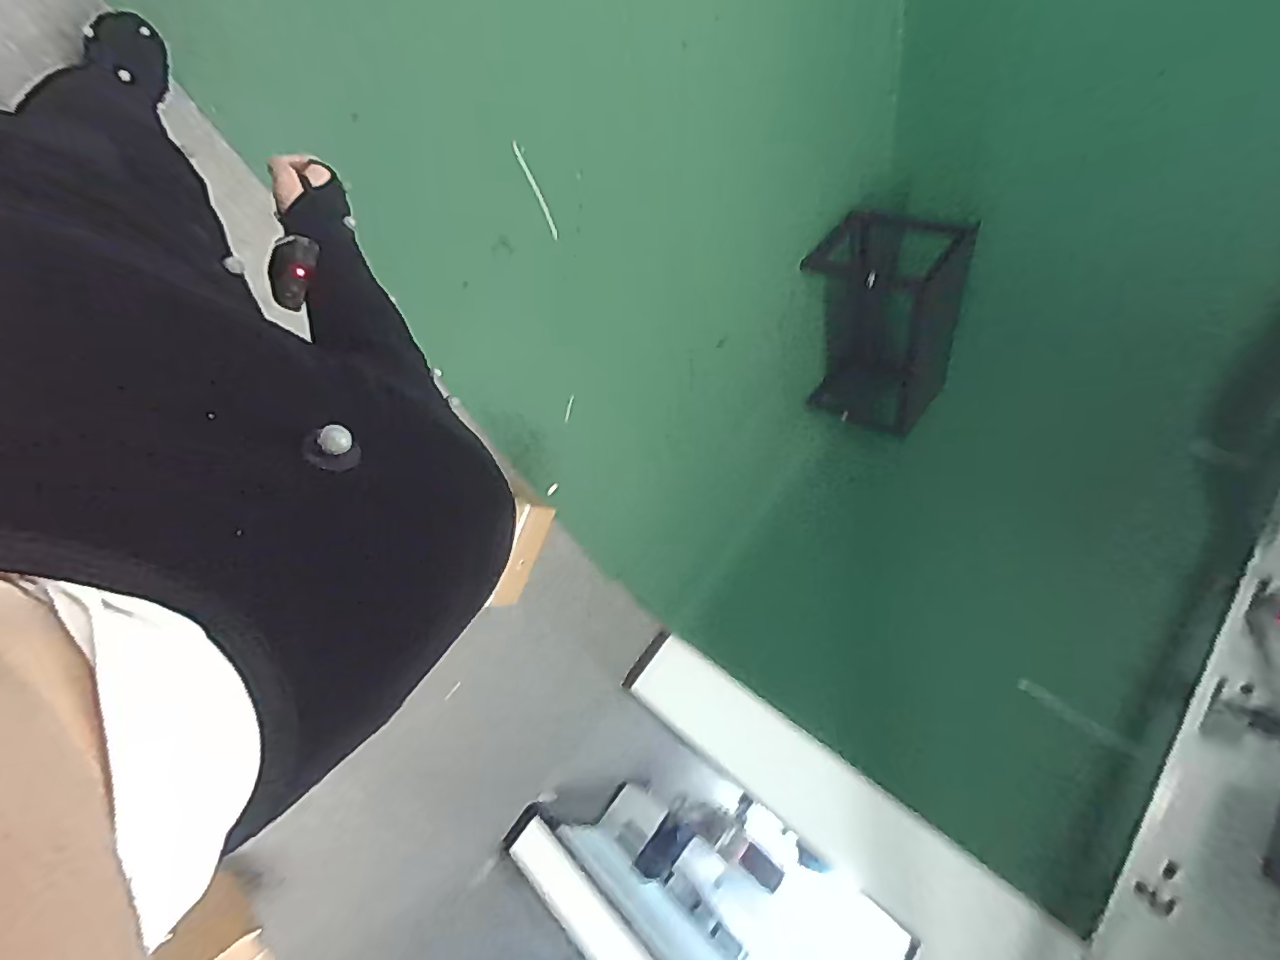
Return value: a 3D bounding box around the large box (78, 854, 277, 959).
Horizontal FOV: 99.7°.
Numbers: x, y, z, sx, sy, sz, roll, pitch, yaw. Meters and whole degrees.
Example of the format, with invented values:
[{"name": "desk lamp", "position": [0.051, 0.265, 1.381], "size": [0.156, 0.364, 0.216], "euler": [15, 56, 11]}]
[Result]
[{"name": "large box", "position": [-1.552, 1.613, 1.837], "size": [0.408, 0.320, 0.320], "euler": [-27, 135, -40]}]
